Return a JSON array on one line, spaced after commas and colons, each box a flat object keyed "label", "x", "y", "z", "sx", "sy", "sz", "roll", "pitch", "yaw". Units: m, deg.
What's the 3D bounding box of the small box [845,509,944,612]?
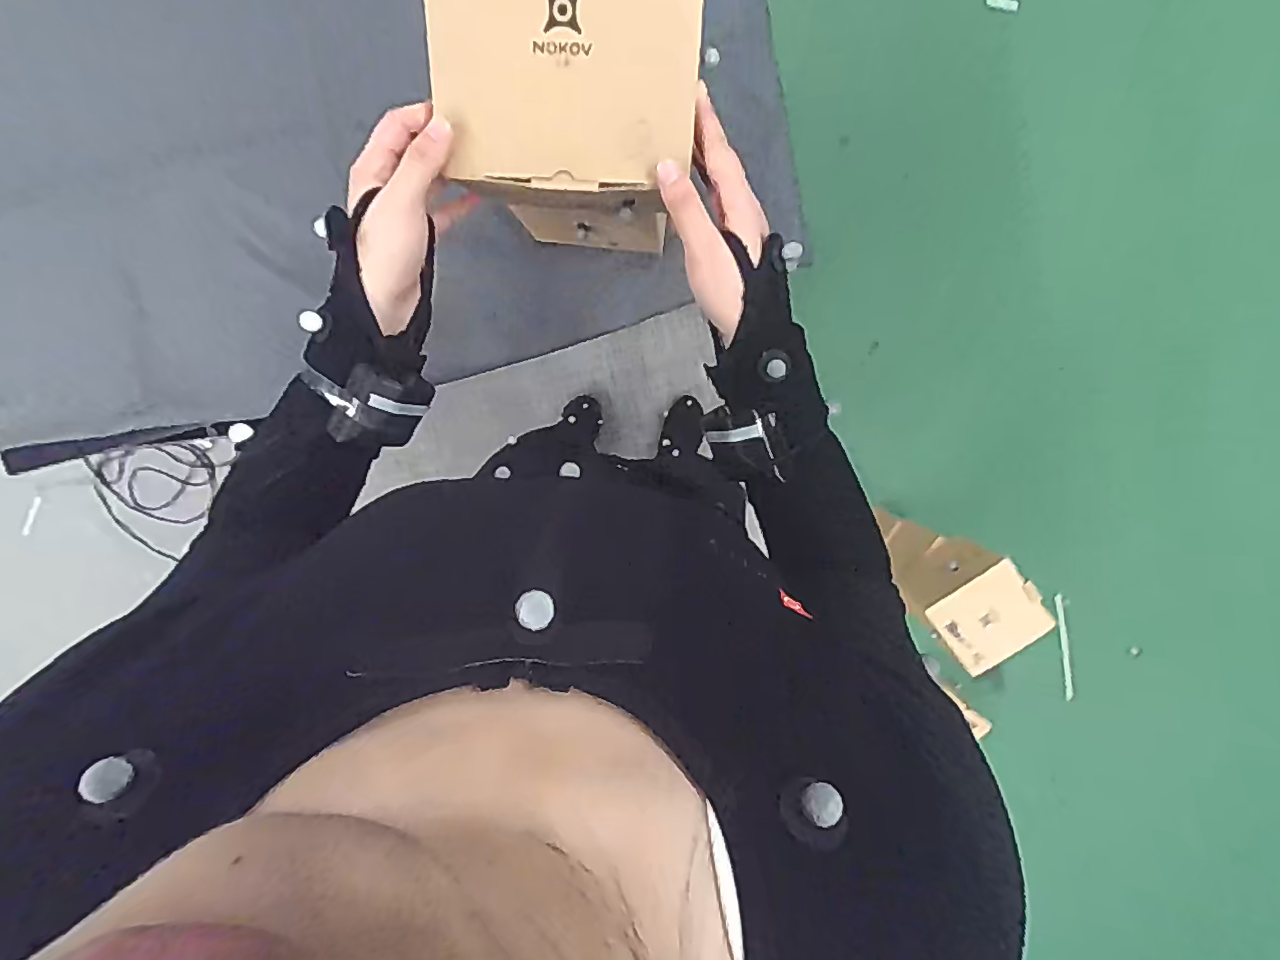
[{"label": "small box", "x": 0.652, "y": 0.199, "z": 1.387, "sx": 0.168, "sy": 0.176, "sz": 0.179, "roll": 32, "pitch": 100, "yaw": -1}]

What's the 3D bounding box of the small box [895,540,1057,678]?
[{"label": "small box", "x": 0.645, "y": 0.242, "z": 1.061, "sx": 0.179, "sy": 0.176, "sz": 0.168, "roll": -38, "pitch": 95, "yaw": 9}]

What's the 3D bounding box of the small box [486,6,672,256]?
[{"label": "small box", "x": -0.056, "y": -0.361, "z": 0.594, "sx": 0.168, "sy": 0.176, "sz": 0.179, "roll": 7, "pitch": 98, "yaw": 3}]

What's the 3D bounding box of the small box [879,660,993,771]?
[{"label": "small box", "x": 0.780, "y": 0.622, "z": 1.449, "sx": 0.168, "sy": 0.176, "sz": 0.179, "roll": 39, "pitch": 101, "yaw": -3}]
